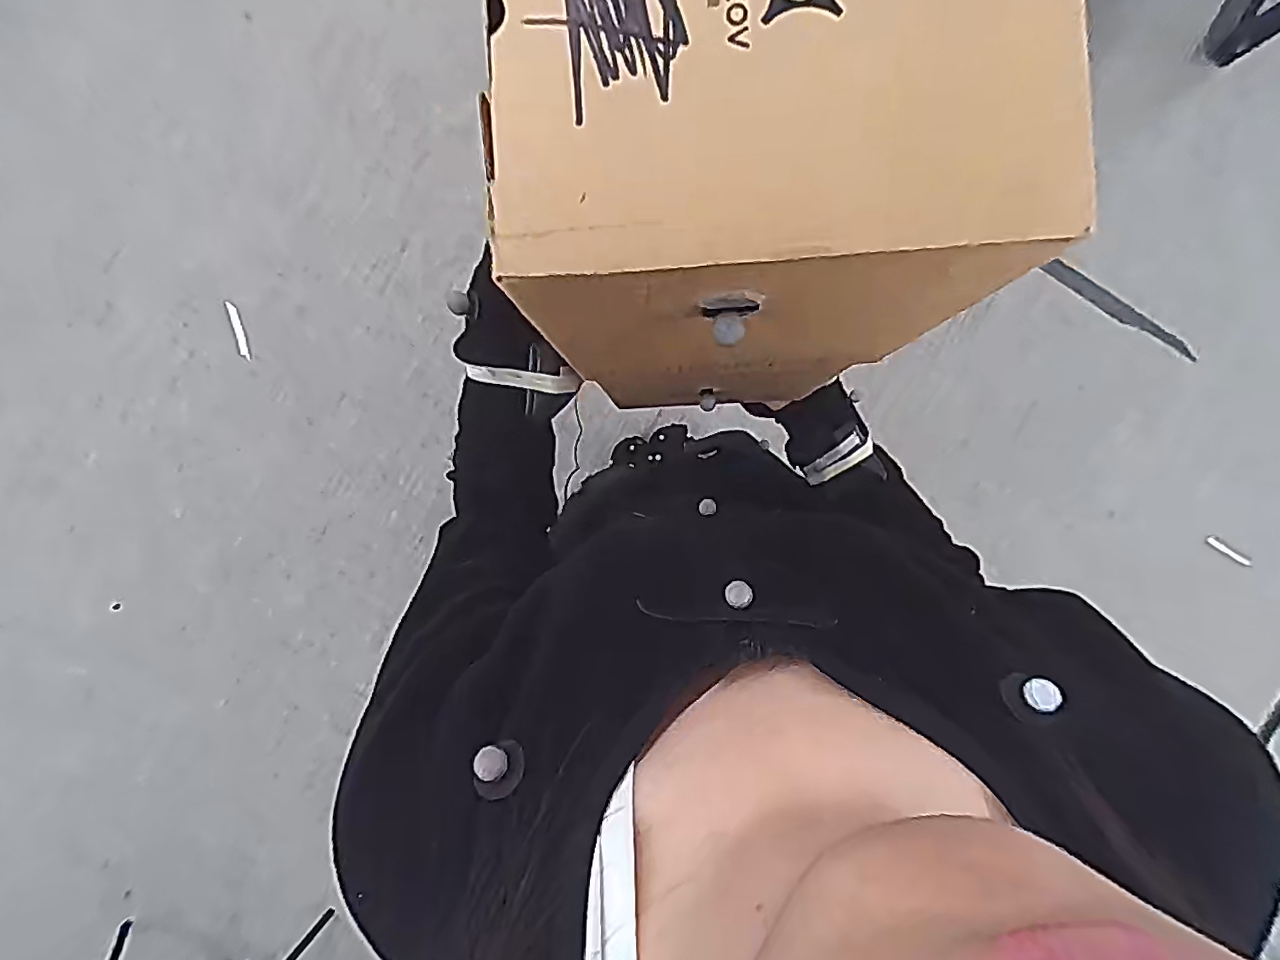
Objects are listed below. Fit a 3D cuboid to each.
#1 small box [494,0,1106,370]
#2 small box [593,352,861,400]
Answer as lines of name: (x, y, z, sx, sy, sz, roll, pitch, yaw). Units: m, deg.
small box: (0.047, -0.148, 0.238, 0.179, 0.176, 0.168, -3, 90, 3)
small box: (0.055, -0.156, 0.403, 0.168, 0.176, 0.179, -2, 89, 3)
